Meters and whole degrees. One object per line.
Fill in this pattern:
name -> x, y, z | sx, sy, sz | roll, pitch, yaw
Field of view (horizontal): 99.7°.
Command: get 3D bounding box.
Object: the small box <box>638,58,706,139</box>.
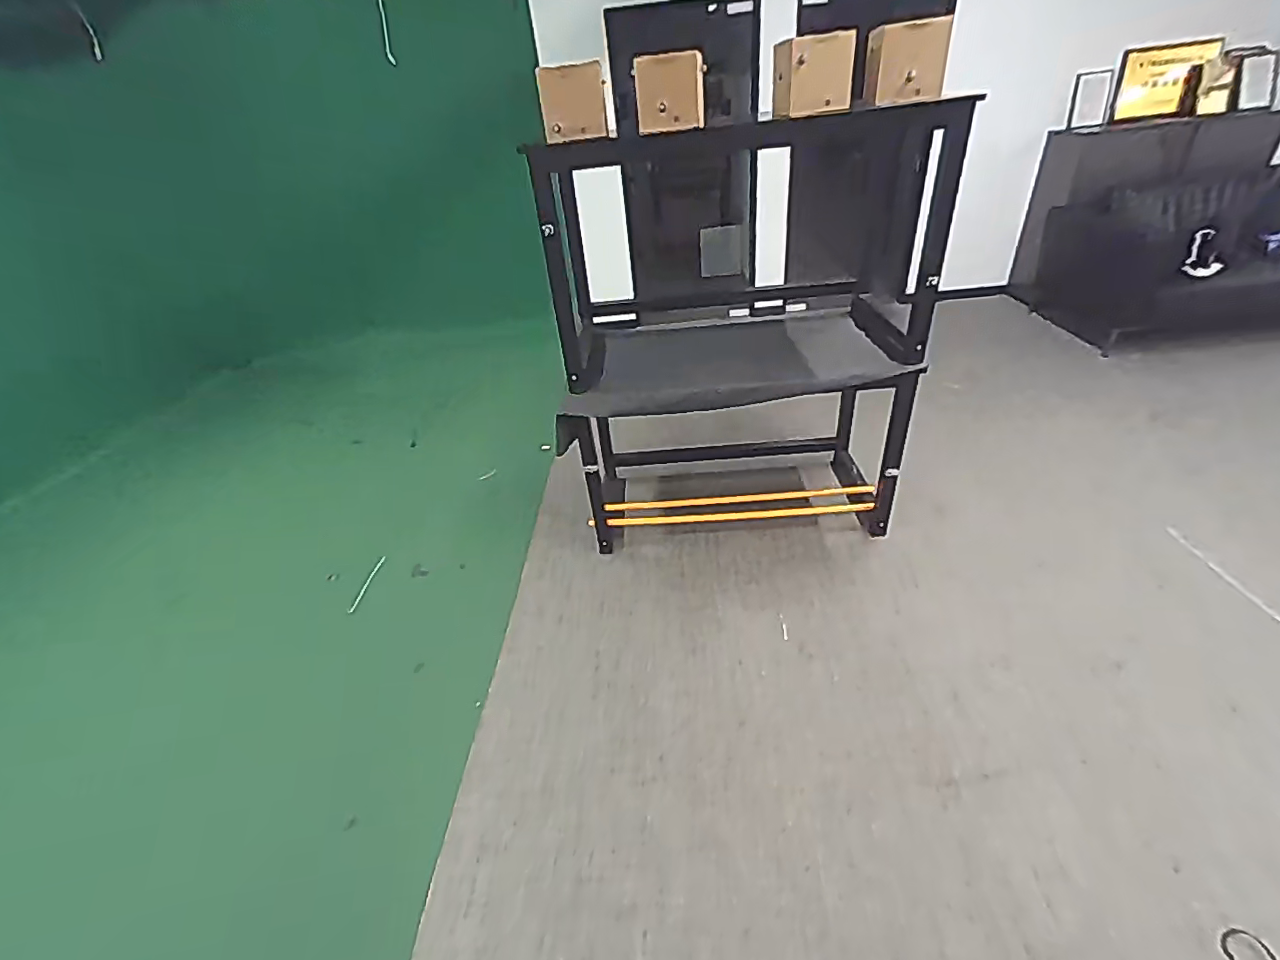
small box -> 0.093, -1.048, 1.493 | 0.168, 0.176, 0.179 | 1, 35, 10

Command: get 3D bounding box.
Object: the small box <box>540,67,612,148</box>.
small box -> -0.171, -1.032, 1.507 | 0.168, 0.176, 0.179 | -4, 33, 3
